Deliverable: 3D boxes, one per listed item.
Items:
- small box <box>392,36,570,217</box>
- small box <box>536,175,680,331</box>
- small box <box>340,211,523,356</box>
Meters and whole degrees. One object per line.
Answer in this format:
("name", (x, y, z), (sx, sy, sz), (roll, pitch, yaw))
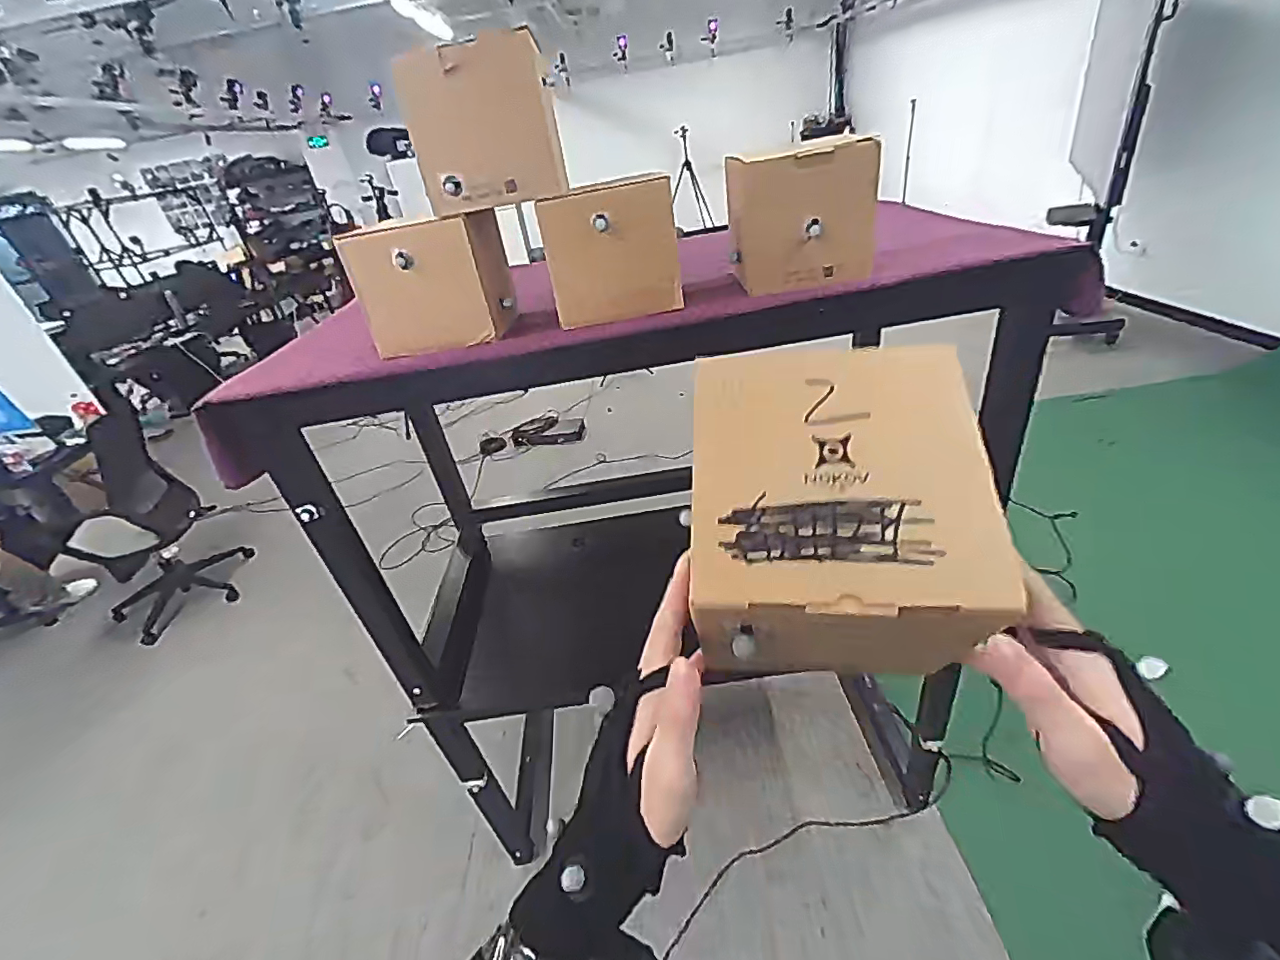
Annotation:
("small box", (-0.194, -0.457, 0.722), (0.168, 0.176, 0.179), (-9, 30, 2))
("small box", (-0.039, -0.334, 0.791), (0.179, 0.176, 0.168), (-10, 31, 2))
("small box", (-0.292, -0.293, 0.801), (0.179, 0.176, 0.168), (-6, 32, 5))
